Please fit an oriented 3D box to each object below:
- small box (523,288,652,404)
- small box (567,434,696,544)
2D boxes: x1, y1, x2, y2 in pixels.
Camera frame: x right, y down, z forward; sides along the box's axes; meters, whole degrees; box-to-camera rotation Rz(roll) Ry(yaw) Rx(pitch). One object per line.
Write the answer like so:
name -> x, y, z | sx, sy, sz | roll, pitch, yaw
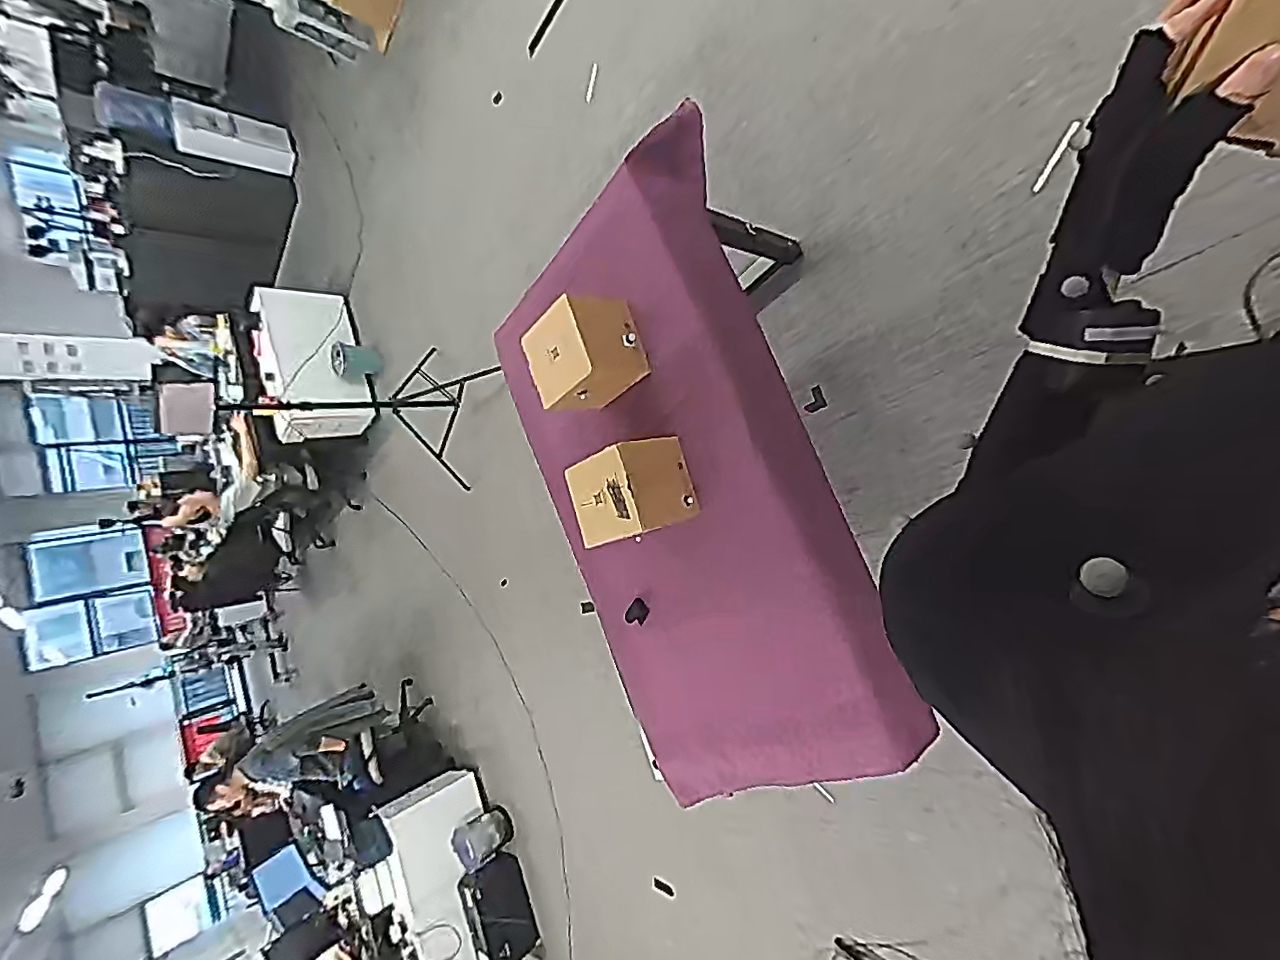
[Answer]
small box -> -0.107, -0.268, 1.113 | 0.179, 0.176, 0.168 | -29, 79, 44
small box -> -0.010, 0.015, 1.067 | 0.179, 0.176, 0.168 | -23, 81, 46
